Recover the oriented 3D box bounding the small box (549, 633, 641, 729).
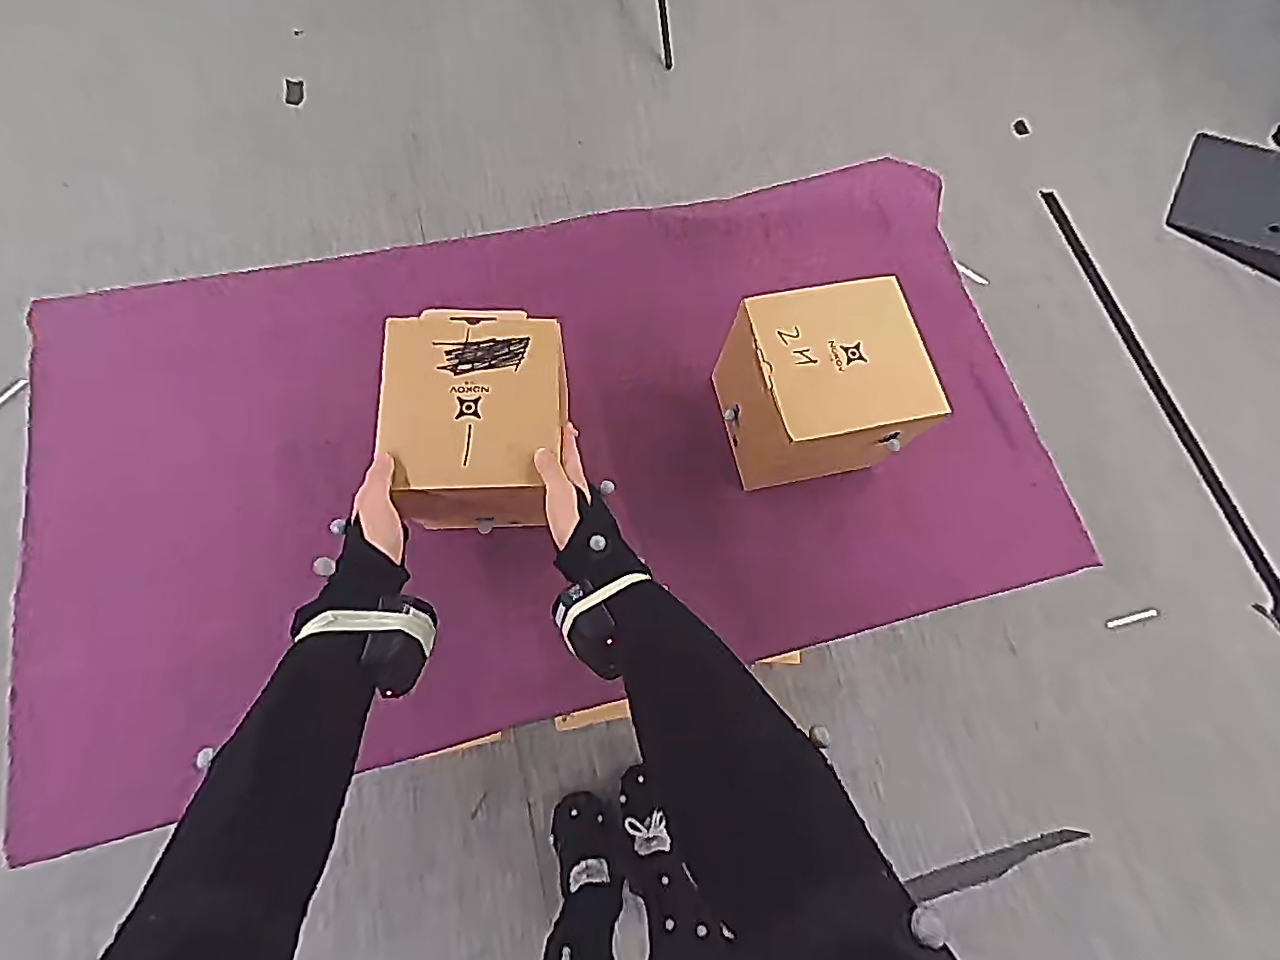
[{"bbox_3d":[-0.102,0.437,1.201,0.179,0.176,0.168,-9,75,-7],"label":"small box"}]

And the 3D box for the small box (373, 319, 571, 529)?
[{"bbox_3d":[-0.162,-0.051,0.579,0.168,0.176,0.179,-1,74,-5],"label":"small box"}]

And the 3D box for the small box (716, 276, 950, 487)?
[{"bbox_3d":[0.202,-0.103,0.620,0.179,0.176,0.168,-11,74,-7],"label":"small box"}]
